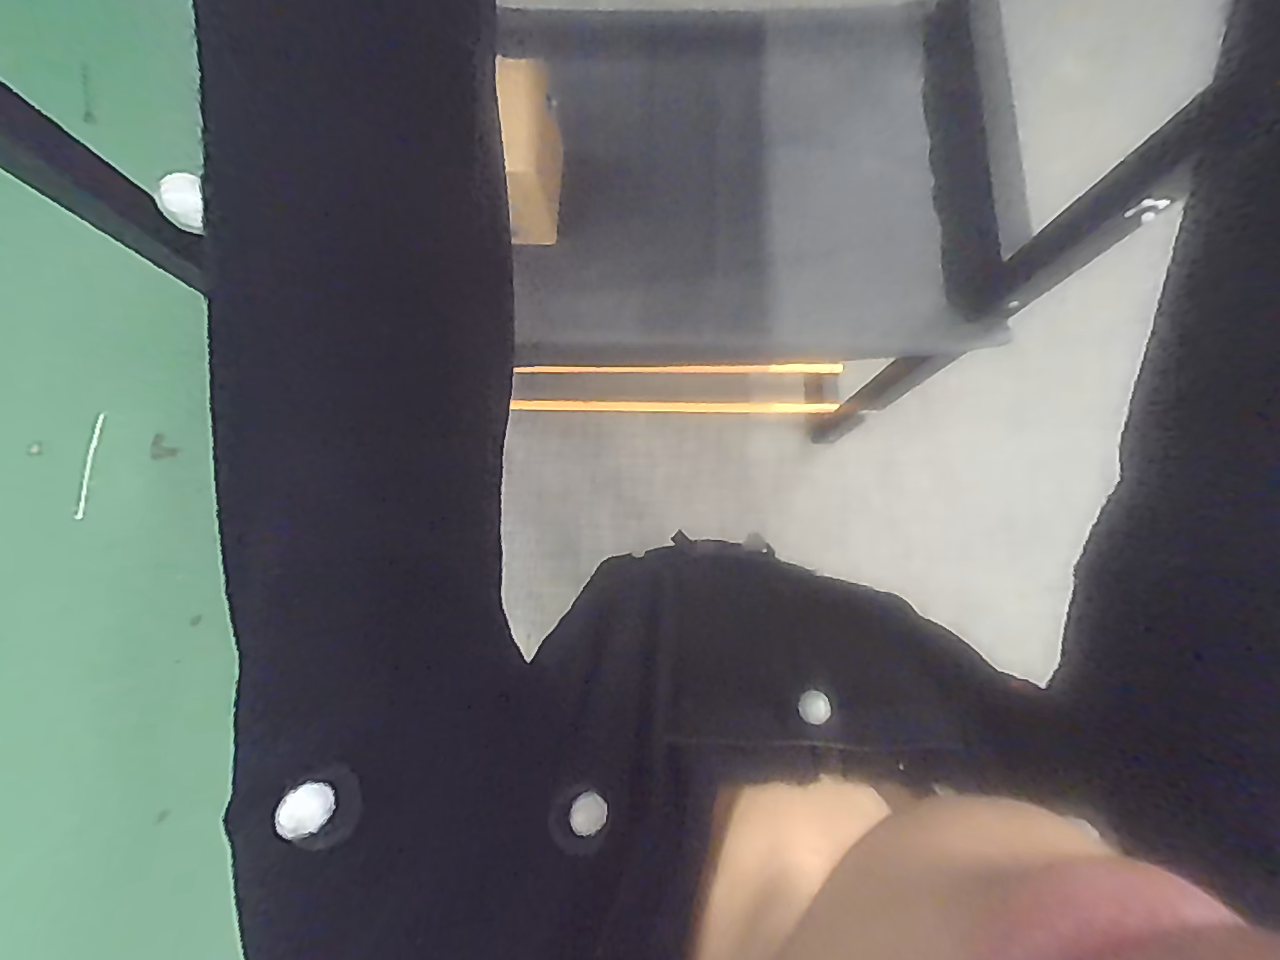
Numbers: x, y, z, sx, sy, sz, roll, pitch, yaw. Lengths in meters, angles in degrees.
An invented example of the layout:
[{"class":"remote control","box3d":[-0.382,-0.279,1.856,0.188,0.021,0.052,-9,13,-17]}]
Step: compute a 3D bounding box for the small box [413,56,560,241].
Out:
[{"class":"small box","box3d":[-0.216,-0.481,0.805,0.168,0.176,0.179,2,80,0]}]
